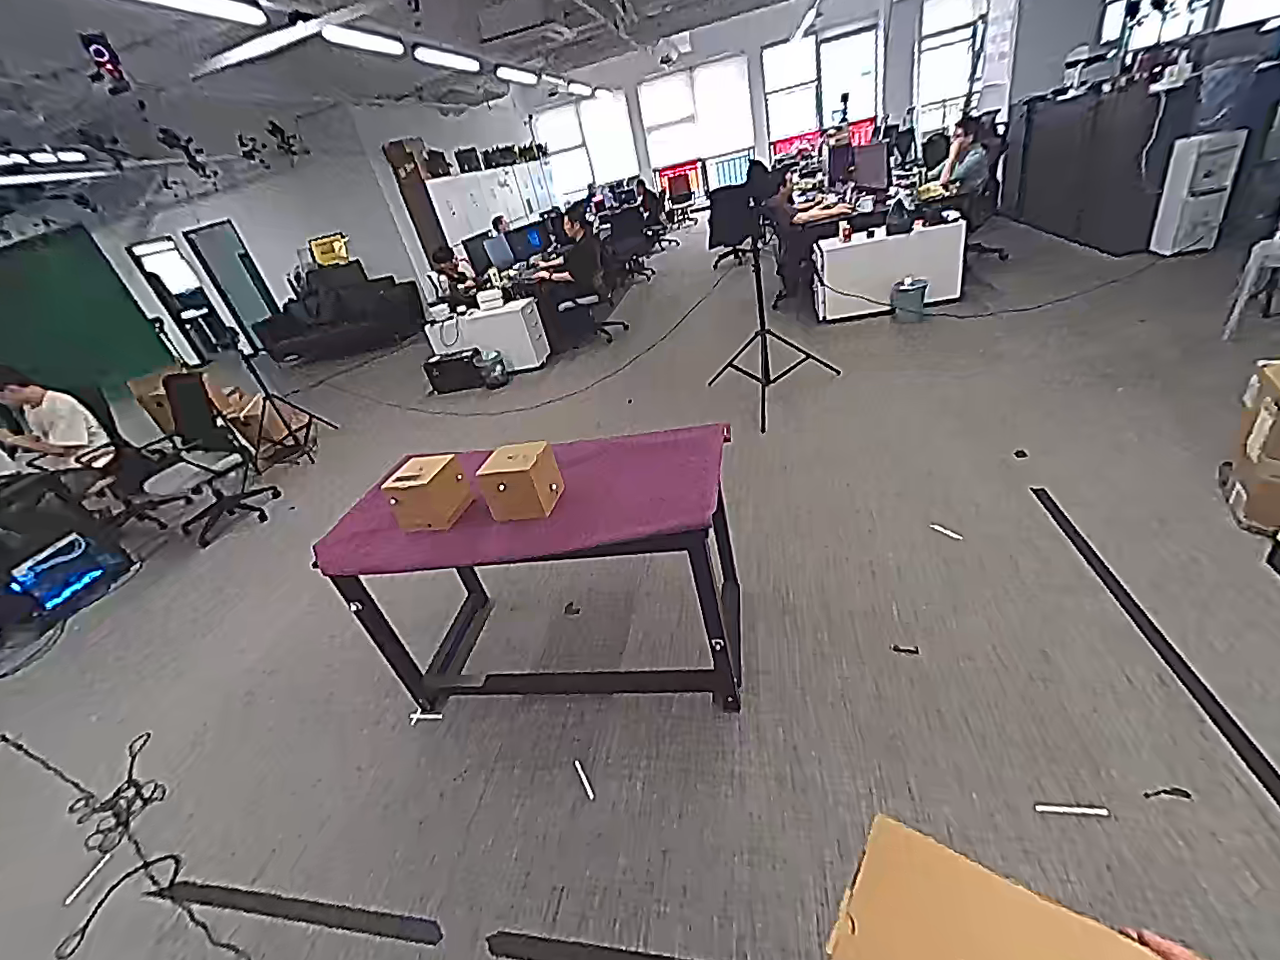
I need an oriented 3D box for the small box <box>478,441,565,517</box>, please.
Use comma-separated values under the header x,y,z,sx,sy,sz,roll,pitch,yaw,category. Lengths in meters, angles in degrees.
x,y,z,sx,sy,sz,roll,pitch,yaw,category
-0.348,0.000,1.615,0.179,0.176,0.168,-4,32,17,small box
